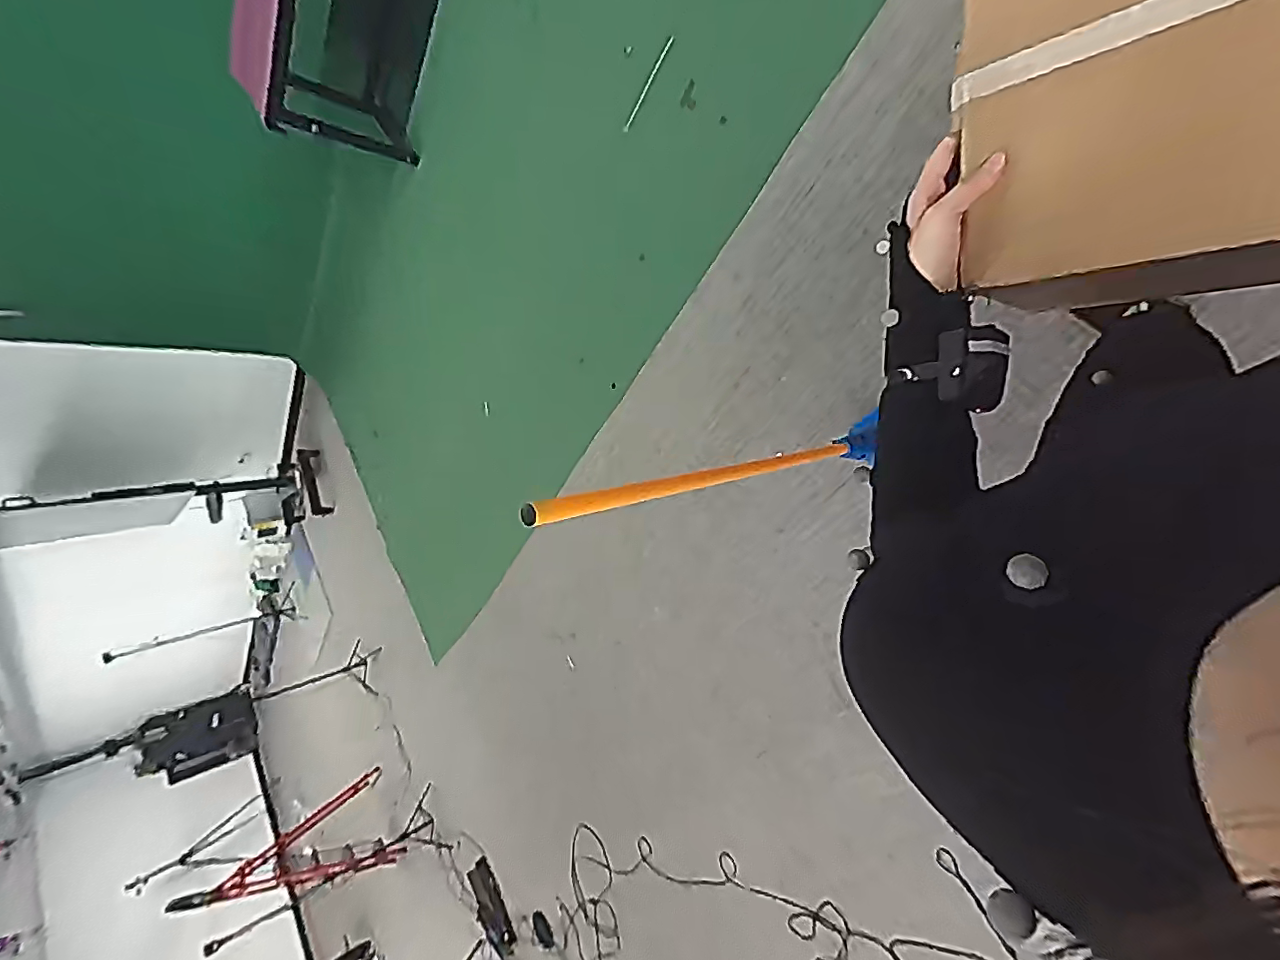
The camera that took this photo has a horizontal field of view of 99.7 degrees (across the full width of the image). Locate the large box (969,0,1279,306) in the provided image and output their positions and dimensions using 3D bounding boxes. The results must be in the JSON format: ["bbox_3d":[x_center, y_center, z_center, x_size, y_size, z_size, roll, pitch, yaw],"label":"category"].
[{"bbox_3d":[0.510,-0.338,0.410,0.408,0.320,0.320,3,101,42],"label":"large box"}]
